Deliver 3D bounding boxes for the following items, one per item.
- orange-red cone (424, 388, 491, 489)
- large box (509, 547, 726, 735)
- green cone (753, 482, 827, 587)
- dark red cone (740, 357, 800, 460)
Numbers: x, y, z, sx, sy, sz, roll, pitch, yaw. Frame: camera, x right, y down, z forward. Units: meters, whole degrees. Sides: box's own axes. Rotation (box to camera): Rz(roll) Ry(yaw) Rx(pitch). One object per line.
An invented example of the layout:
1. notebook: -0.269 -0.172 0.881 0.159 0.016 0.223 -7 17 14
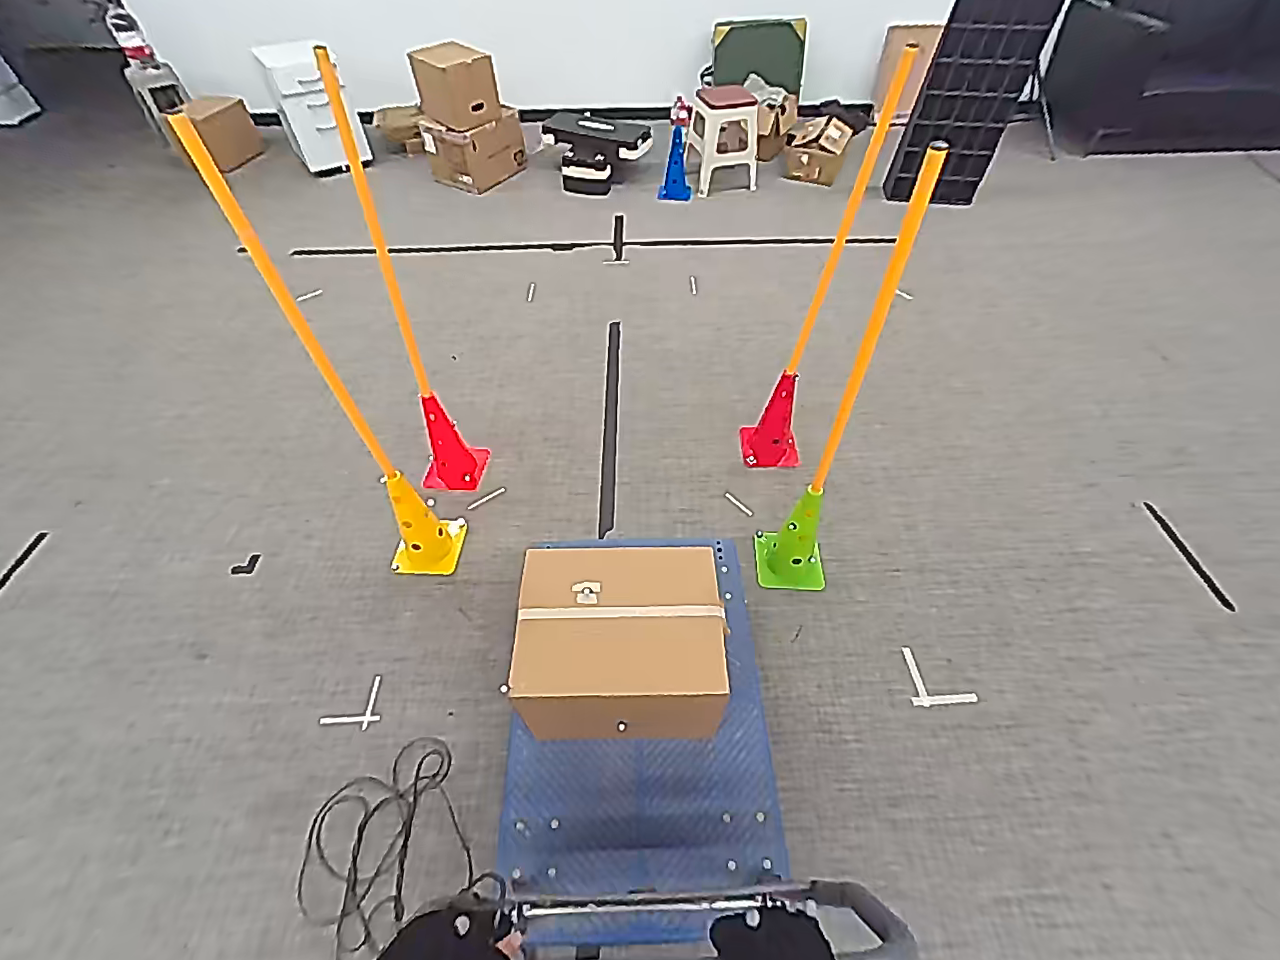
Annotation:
1. orange-red cone: -0.650 -0.162 1.807 0.198 0.360 0.199 6 50 4
2. large box: -0.039 0.362 1.192 0.408 0.320 0.320 -1 51 1
3. green cone: 0.464 0.135 1.562 0.202 0.368 0.200 3 51 1
4. dark red cone: 0.479 -0.252 1.855 0.201 0.394 0.202 1 51 -2
